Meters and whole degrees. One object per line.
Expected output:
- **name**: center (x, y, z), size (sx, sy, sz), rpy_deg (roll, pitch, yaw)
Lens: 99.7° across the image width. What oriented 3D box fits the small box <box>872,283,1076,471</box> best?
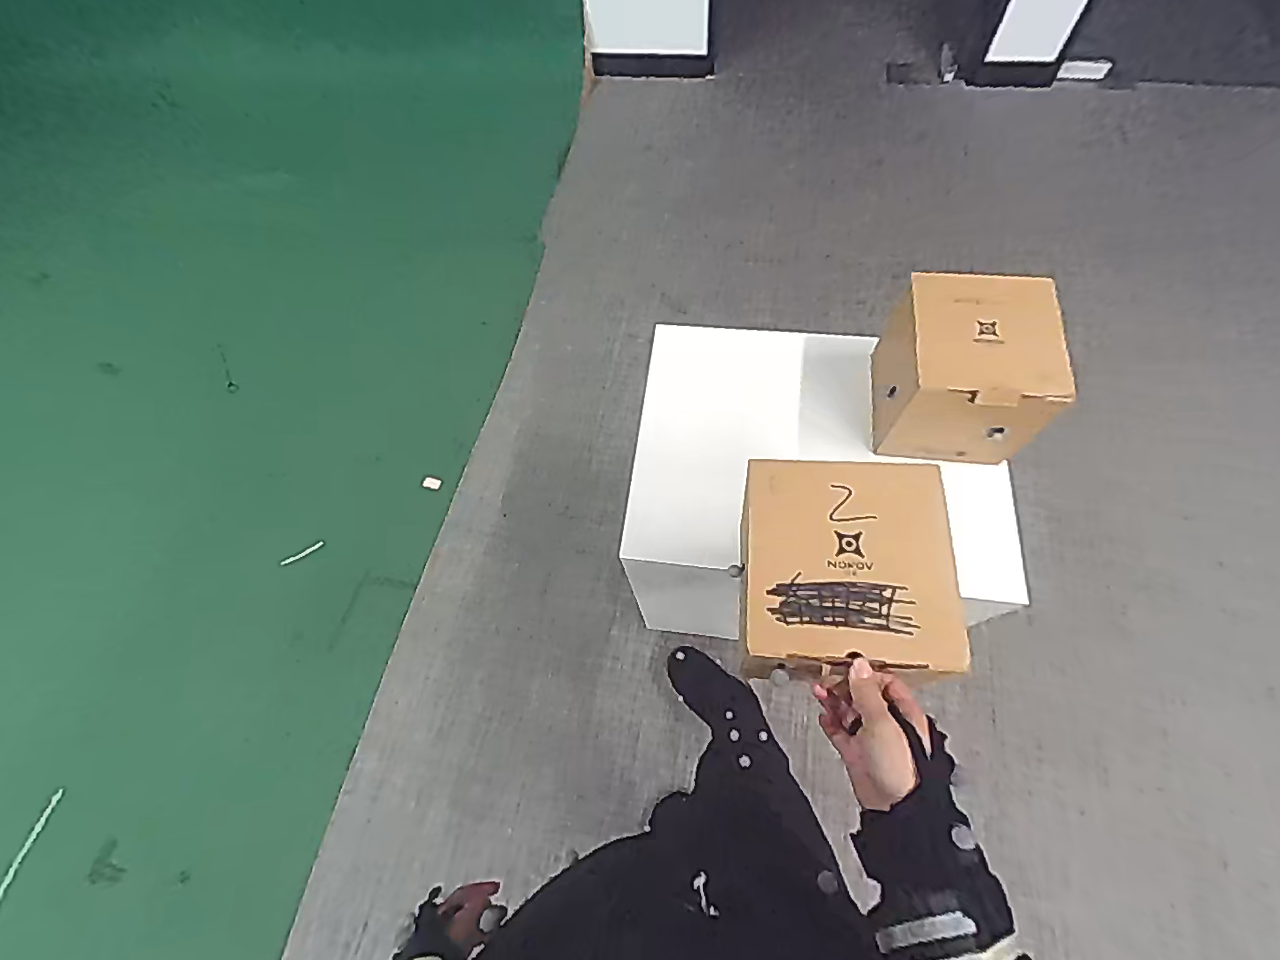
- **small box**: center (0.412, -0.126, 0.701), size (0.168, 0.176, 0.179), rpy_deg (6, 65, 7)
